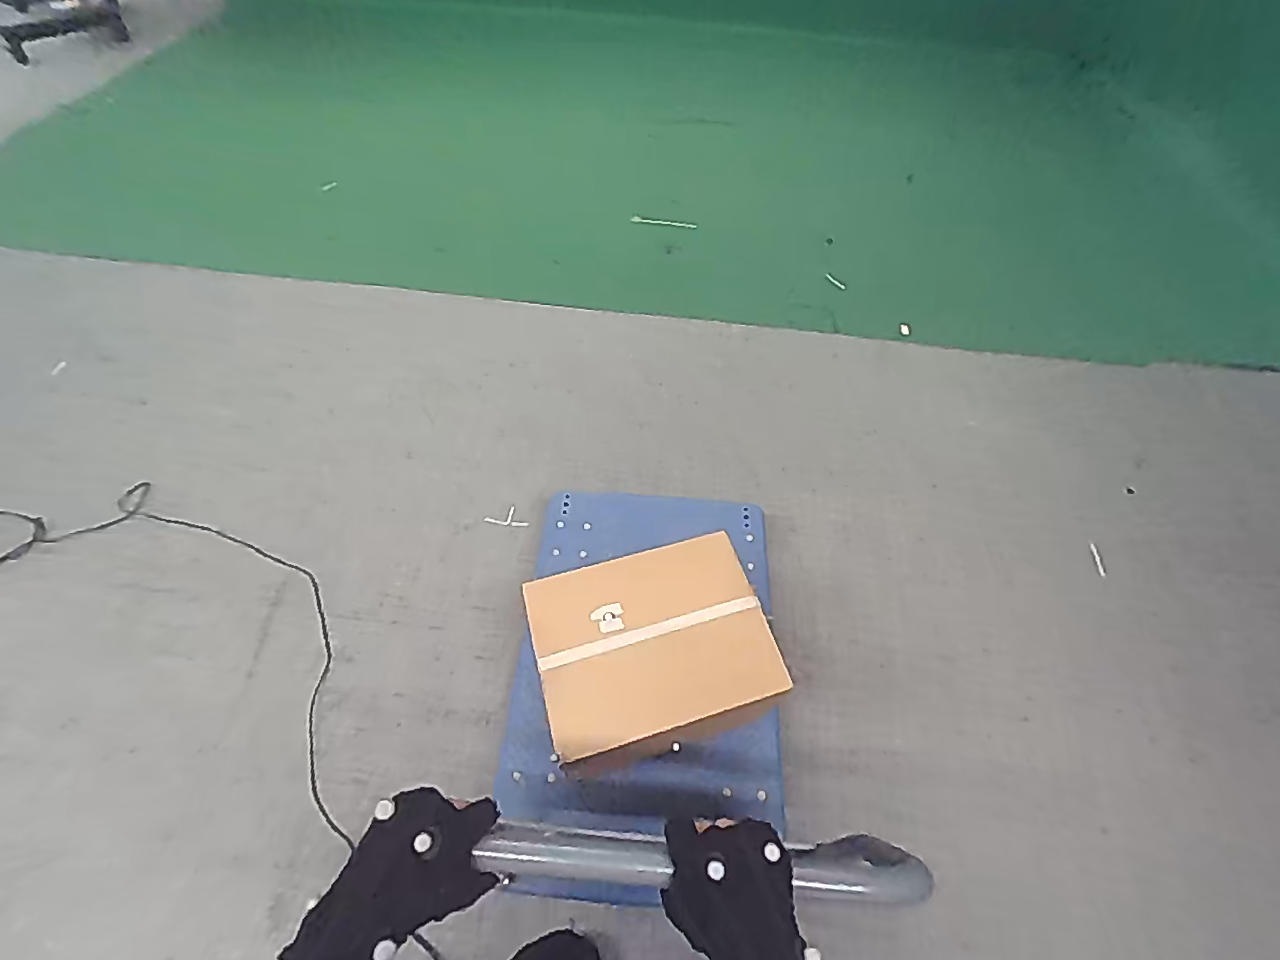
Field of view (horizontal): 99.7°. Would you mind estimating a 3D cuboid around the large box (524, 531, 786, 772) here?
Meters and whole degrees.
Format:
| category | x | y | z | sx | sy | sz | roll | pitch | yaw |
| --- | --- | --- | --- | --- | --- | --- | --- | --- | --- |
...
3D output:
| category | x | y | z | sx | sy | sz | roll | pitch | yaw |
| --- | --- | --- | --- | --- | --- | --- | --- | --- | --- |
| large box | 0.015 | 0.347 | 1.079 | 0.408 | 0.320 | 0.320 | -13 | 58 | -10 |
